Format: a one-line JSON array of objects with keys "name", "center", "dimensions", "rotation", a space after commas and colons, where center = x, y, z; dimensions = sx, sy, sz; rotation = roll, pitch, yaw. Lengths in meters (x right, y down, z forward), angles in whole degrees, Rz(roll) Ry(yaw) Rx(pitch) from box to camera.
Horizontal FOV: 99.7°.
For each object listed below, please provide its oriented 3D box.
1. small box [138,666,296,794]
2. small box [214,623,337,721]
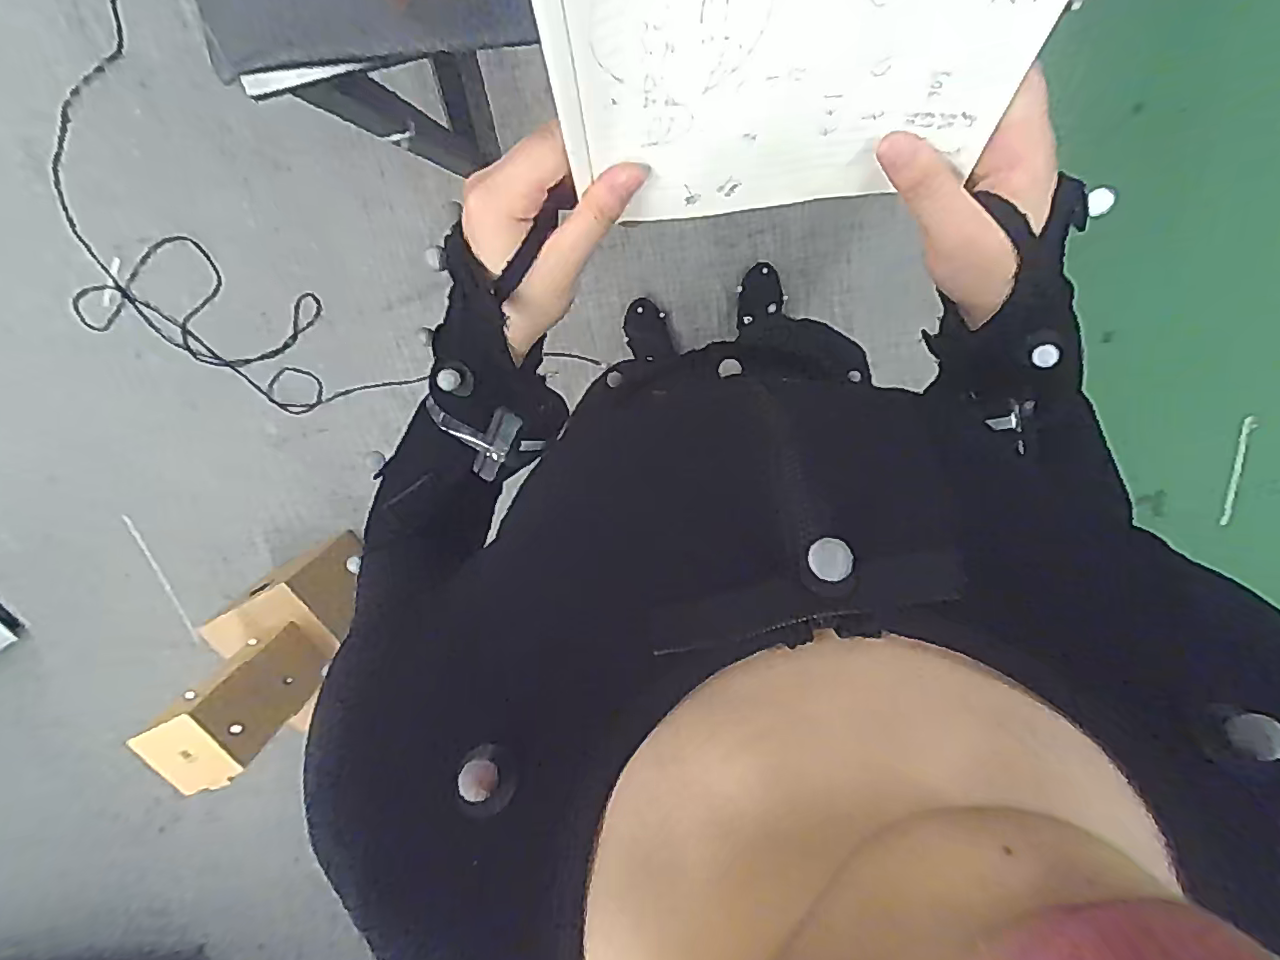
[{"name": "small box", "center": [-0.921, 0.541, 1.197], "dimensions": [0.168, 0.176, 0.179], "rotation": [-26, 108, 10]}, {"name": "small box", "center": [-0.910, 0.496, 1.353], "dimensions": [0.168, 0.176, 0.179], "rotation": [-27, 107, 11]}]
